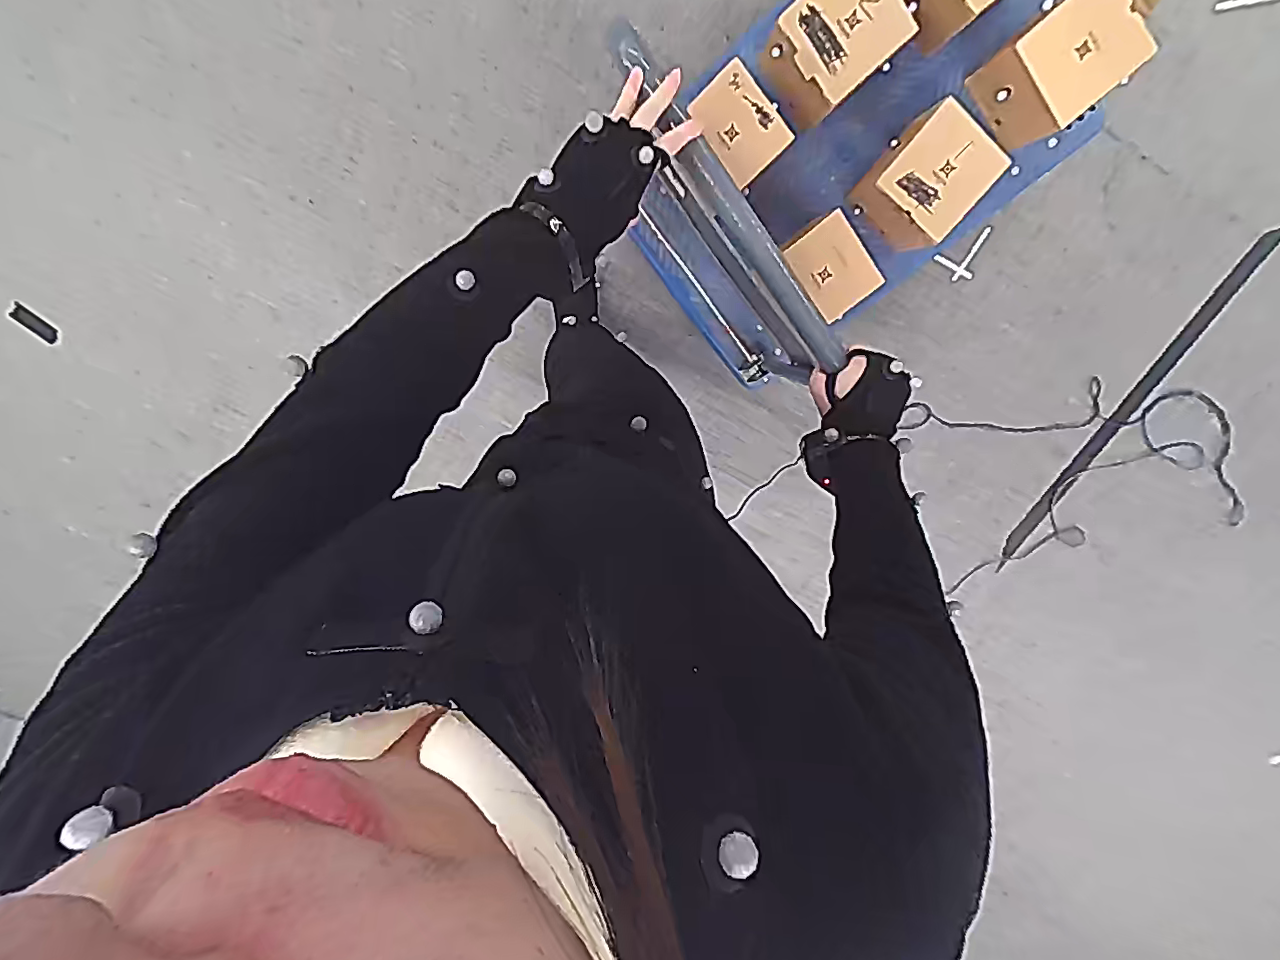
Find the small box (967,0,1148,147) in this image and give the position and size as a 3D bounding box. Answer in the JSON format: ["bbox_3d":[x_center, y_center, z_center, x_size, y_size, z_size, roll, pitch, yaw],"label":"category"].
[{"bbox_3d":[0.735,-0.750,0.980,0.179,0.176,0.168,-40,103,13],"label":"small box"}]

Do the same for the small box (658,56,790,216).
[{"bbox_3d":[0.151,-0.633,1.026,0.179,0.176,0.168,-40,104,13],"label":"small box"}]

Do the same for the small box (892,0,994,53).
[{"bbox_3d":[0.561,-0.899,0.930,0.179,0.176,0.168,-35,105,13],"label":"small box"}]

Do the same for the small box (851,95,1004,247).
[{"bbox_3d":[0.534,-0.576,1.040,0.168,0.176,0.179,38,104,-11],"label":"small box"}]

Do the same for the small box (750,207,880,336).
[{"bbox_3d":[0.342,-0.414,1.098,0.179,0.176,0.168,-37,105,11],"label":"small box"}]
